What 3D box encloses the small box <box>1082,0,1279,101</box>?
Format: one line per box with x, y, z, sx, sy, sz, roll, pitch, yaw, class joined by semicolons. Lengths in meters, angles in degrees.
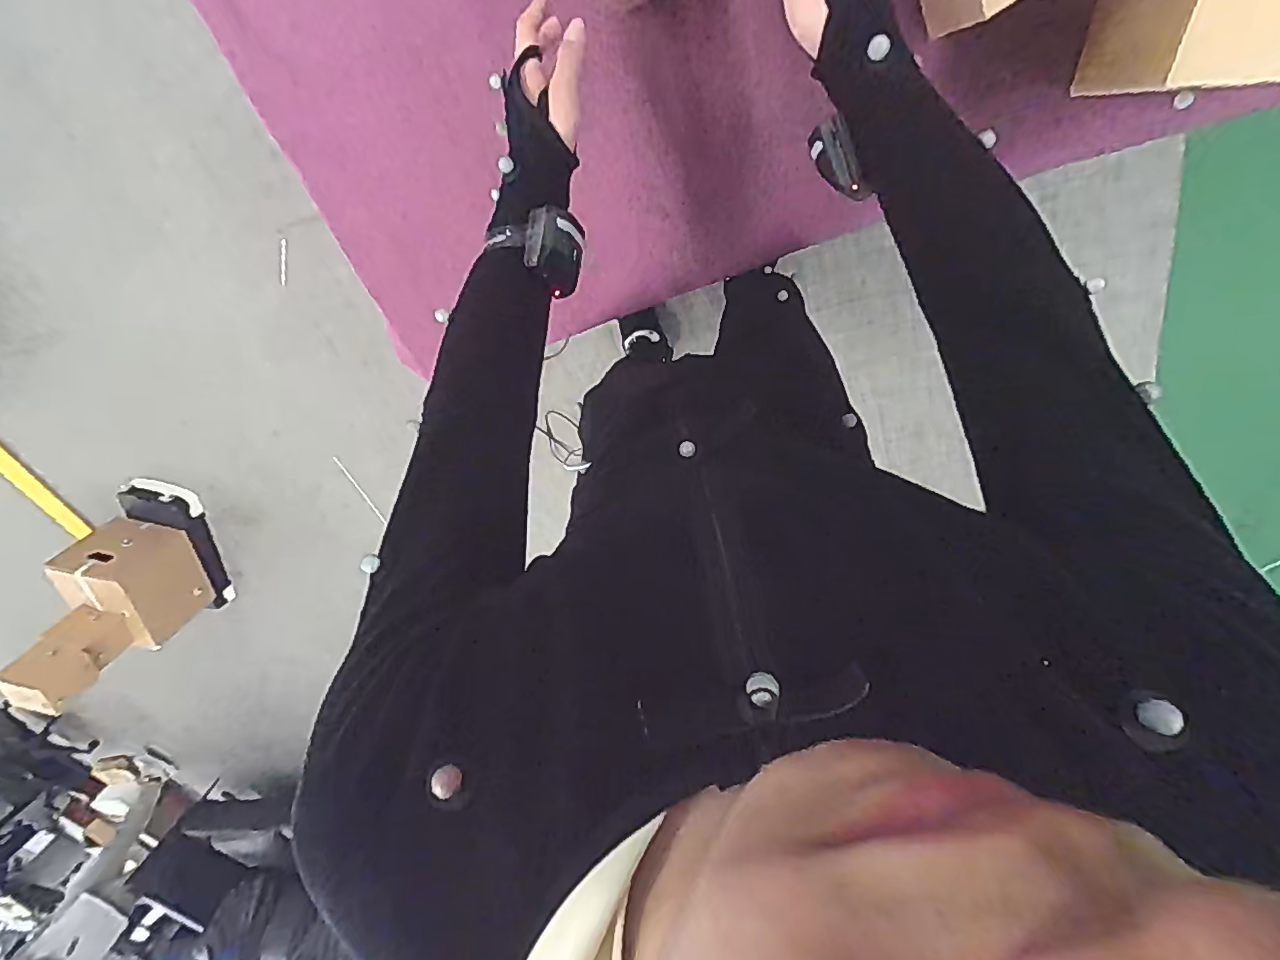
0.515;-0.423;0.446;0.168;0.176;0.179;4;122;10;small box
